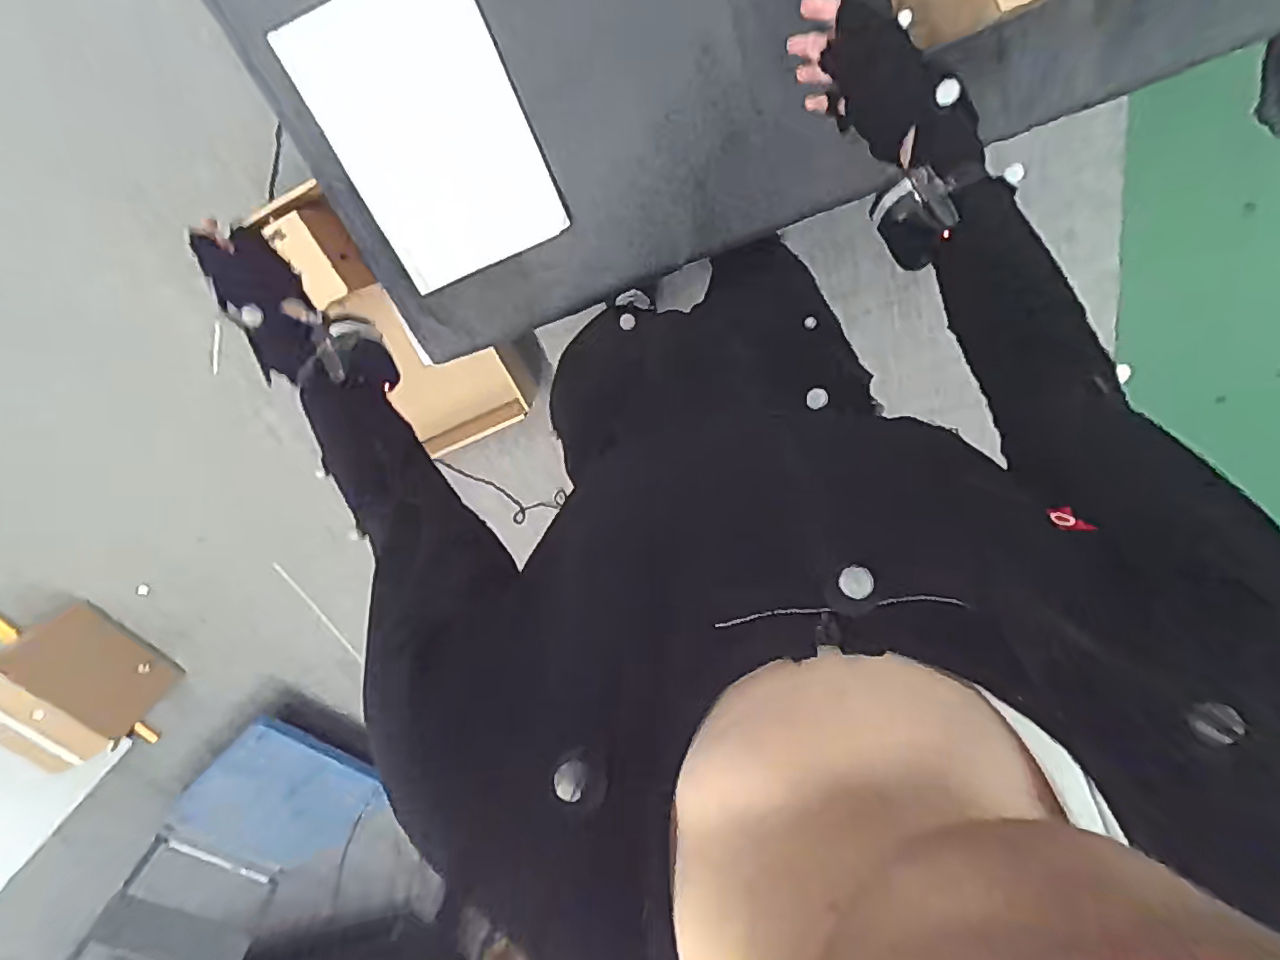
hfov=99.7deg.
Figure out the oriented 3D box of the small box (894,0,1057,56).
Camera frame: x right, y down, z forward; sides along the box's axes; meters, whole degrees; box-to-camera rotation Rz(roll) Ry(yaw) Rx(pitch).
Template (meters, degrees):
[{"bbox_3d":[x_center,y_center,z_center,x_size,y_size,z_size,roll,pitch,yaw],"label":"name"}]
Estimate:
[{"bbox_3d":[0.317,-0.476,0.423,0.179,0.176,0.168,-17,116,10],"label":"small box"}]
